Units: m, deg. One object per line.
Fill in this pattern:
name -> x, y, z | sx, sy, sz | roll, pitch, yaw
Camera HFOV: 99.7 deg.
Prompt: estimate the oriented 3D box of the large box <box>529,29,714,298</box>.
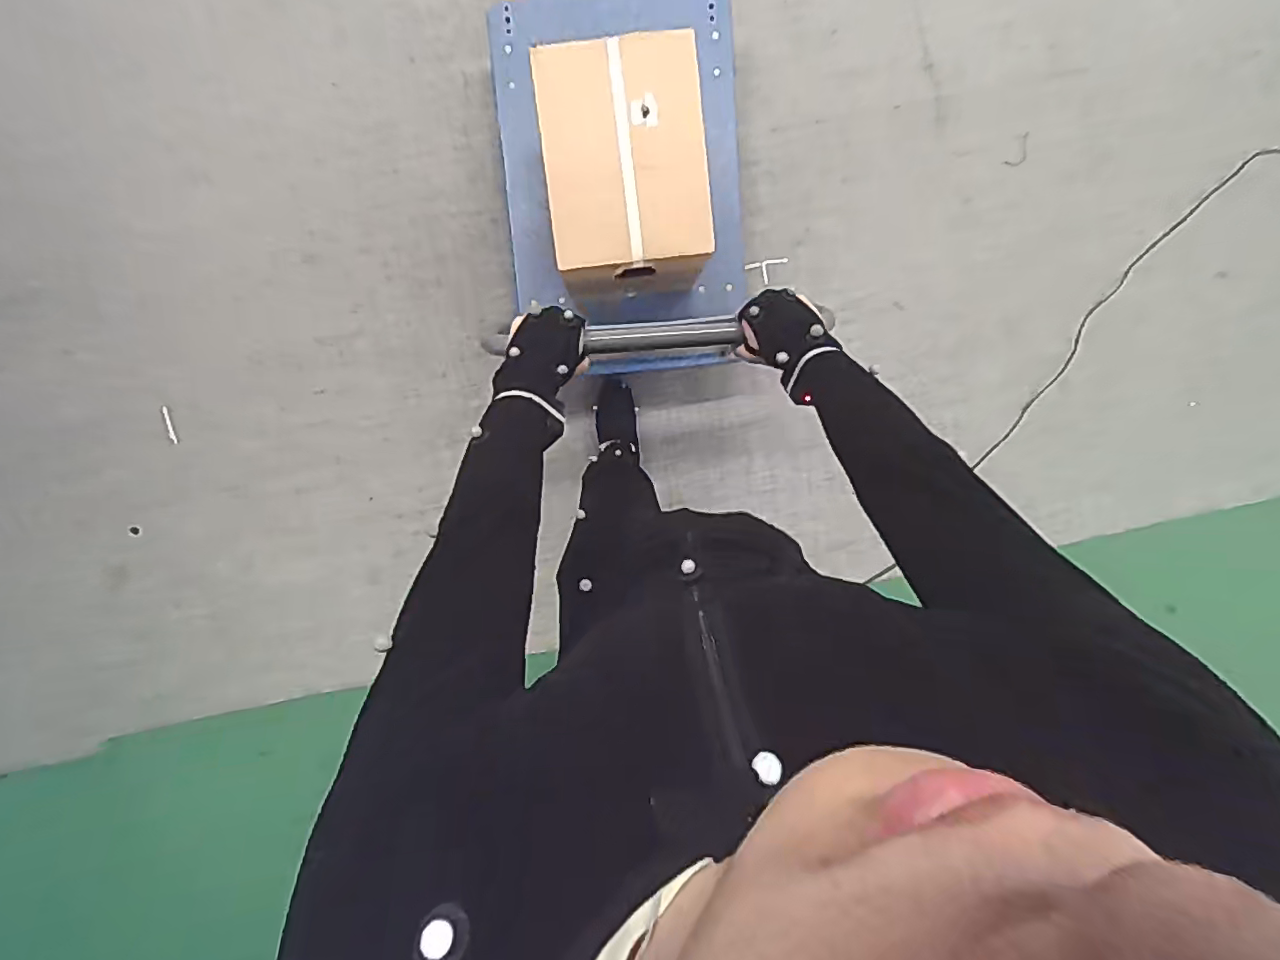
large box -> -0.034, -0.651, 1.187 | 0.320, 0.320, 0.408 | -7, 97, -1
